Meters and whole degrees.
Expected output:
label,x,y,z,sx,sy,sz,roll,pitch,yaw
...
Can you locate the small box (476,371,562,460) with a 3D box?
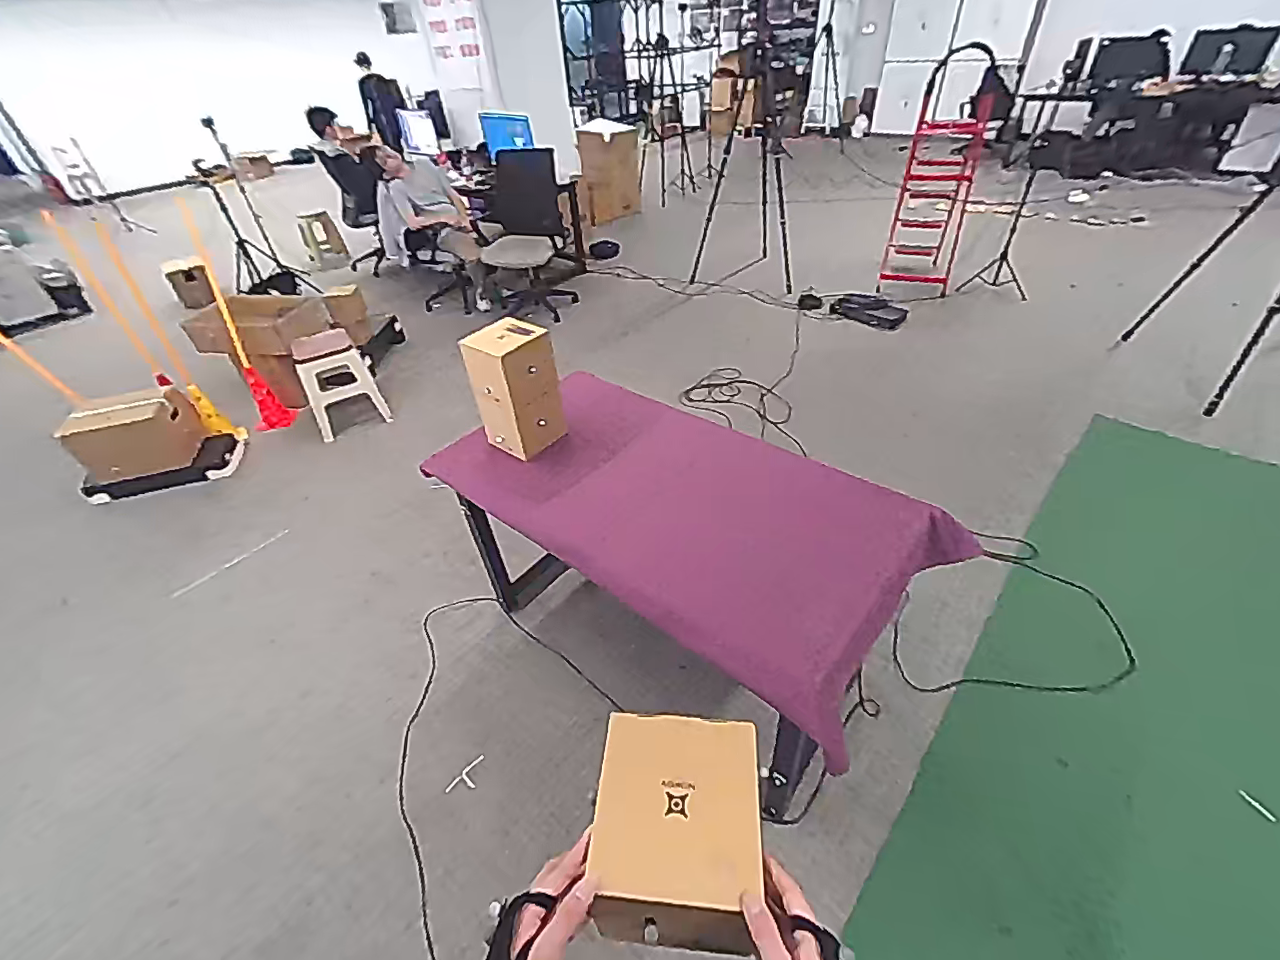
label,x,y,z,sx,sy,sz,roll,pitch,yaw
small box,-0.341,-0.188,1.567,0.168,0.176,0.179,25,49,30
